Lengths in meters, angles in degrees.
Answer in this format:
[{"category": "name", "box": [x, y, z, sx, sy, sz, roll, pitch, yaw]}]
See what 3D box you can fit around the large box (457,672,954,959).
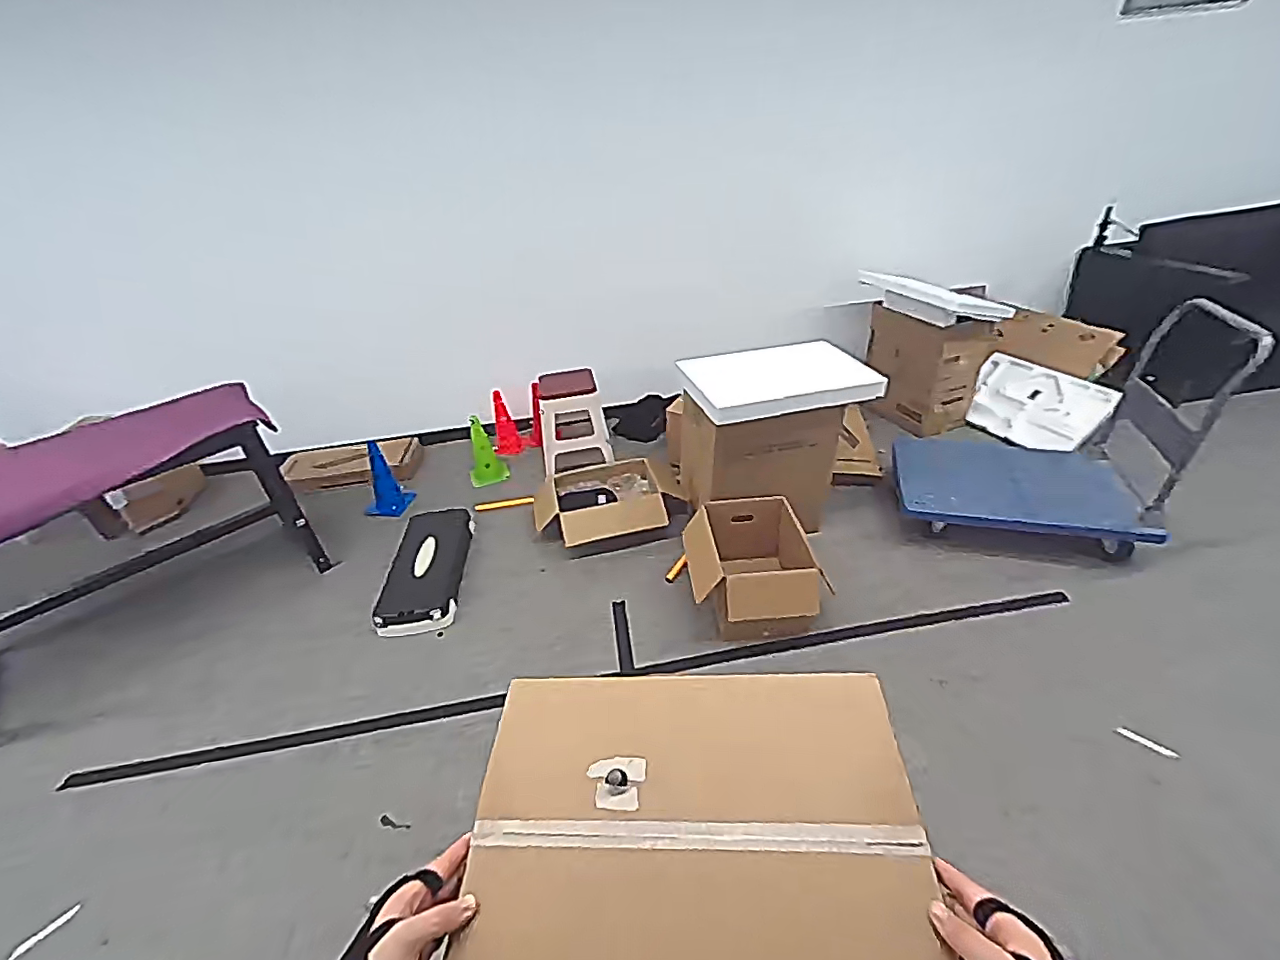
[{"category": "large box", "box": [0.069, 0.439, 0.592, 0.408, 0.320, 0.320, -5, 40, 8]}]
